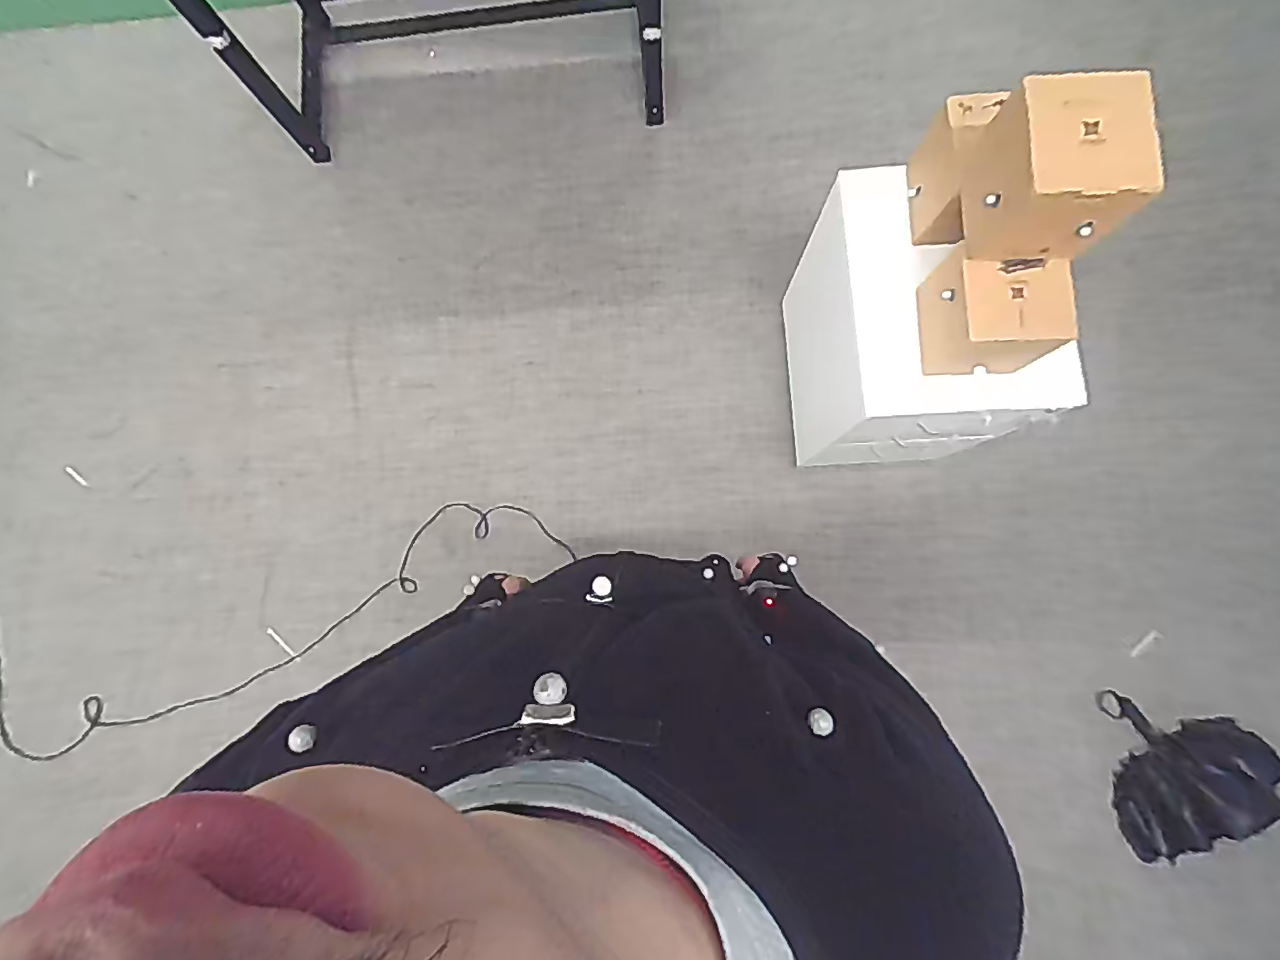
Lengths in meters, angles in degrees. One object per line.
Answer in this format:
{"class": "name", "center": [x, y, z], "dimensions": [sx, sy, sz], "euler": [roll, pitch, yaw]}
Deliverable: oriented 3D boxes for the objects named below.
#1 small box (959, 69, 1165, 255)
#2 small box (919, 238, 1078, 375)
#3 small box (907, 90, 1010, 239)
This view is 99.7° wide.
{"class": "small box", "center": [0.595, -0.446, 0.786], "dimensions": [0.168, 0.176, 0.179], "euler": [-1, 81, 2]}
{"class": "small box", "center": [0.599, -0.292, 0.928], "dimensions": [0.168, 0.176, 0.179], "euler": [-1, 83, 4]}
{"class": "small box", "center": [0.599, -0.549, 0.964], "dimensions": [0.168, 0.176, 0.179], "euler": [-3, 84, 3]}
